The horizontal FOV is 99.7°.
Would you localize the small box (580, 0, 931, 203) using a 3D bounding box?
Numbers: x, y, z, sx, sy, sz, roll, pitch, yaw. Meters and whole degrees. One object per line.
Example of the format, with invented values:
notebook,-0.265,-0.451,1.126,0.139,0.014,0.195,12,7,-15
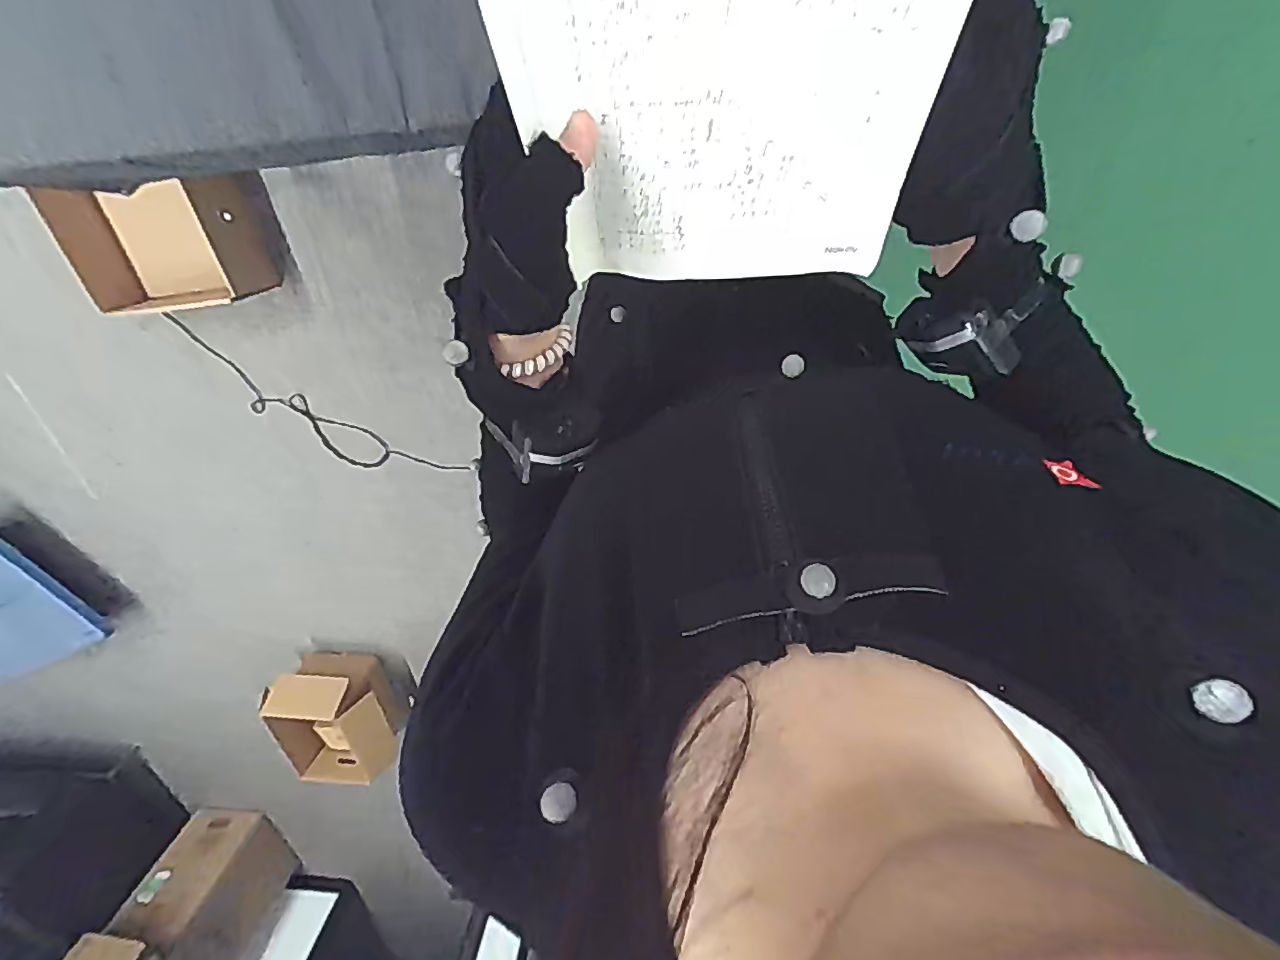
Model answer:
small box,0.055,-0.287,0.311,0.168,0.176,0.179,-8,128,10
